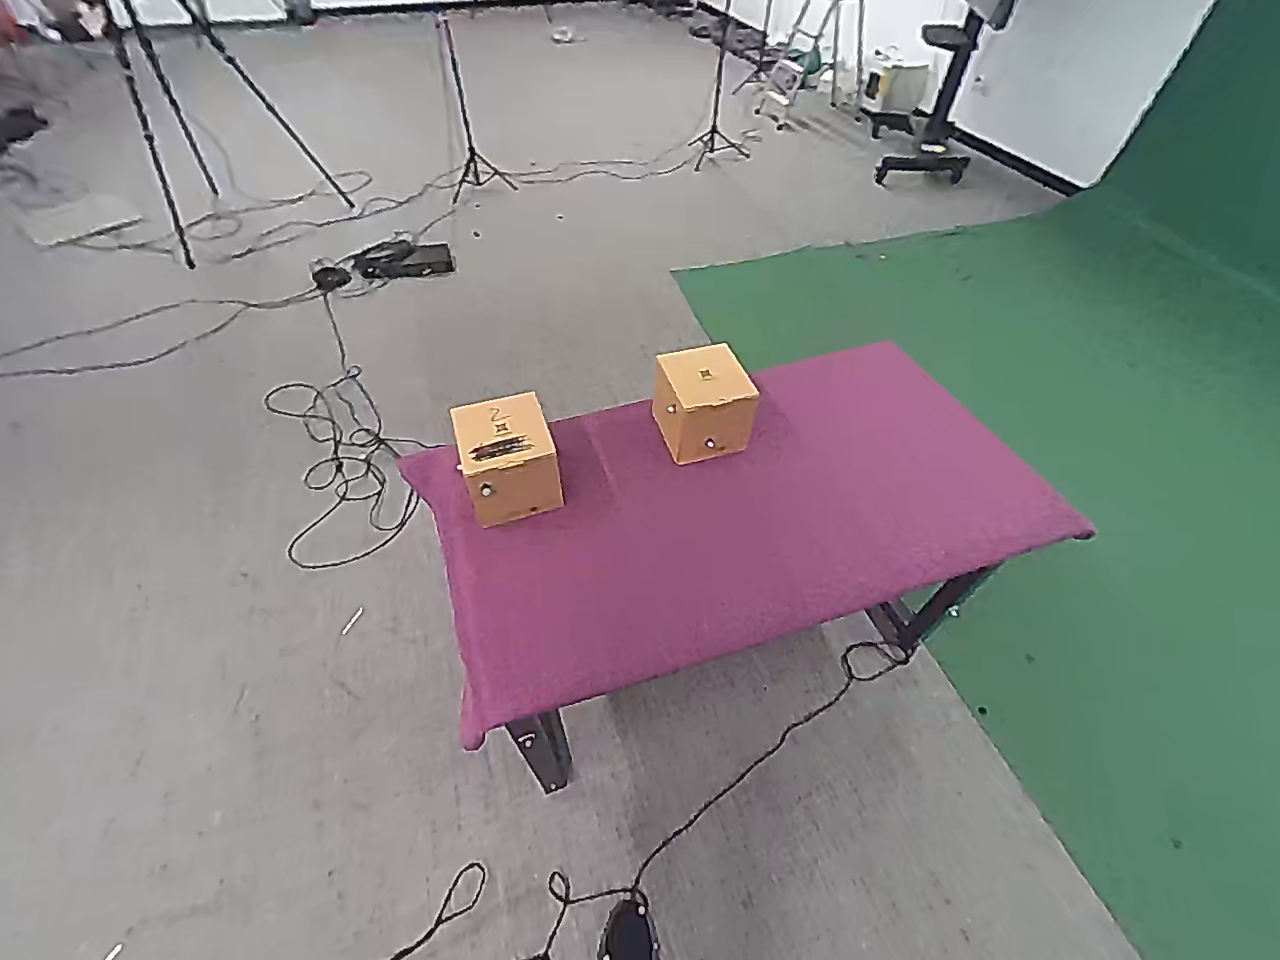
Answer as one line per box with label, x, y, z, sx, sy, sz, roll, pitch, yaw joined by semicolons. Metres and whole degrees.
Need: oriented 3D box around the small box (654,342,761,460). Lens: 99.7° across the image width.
small box;0.135;-0.171;1.171;0.168;0.176;0.179;-13;54;-13
